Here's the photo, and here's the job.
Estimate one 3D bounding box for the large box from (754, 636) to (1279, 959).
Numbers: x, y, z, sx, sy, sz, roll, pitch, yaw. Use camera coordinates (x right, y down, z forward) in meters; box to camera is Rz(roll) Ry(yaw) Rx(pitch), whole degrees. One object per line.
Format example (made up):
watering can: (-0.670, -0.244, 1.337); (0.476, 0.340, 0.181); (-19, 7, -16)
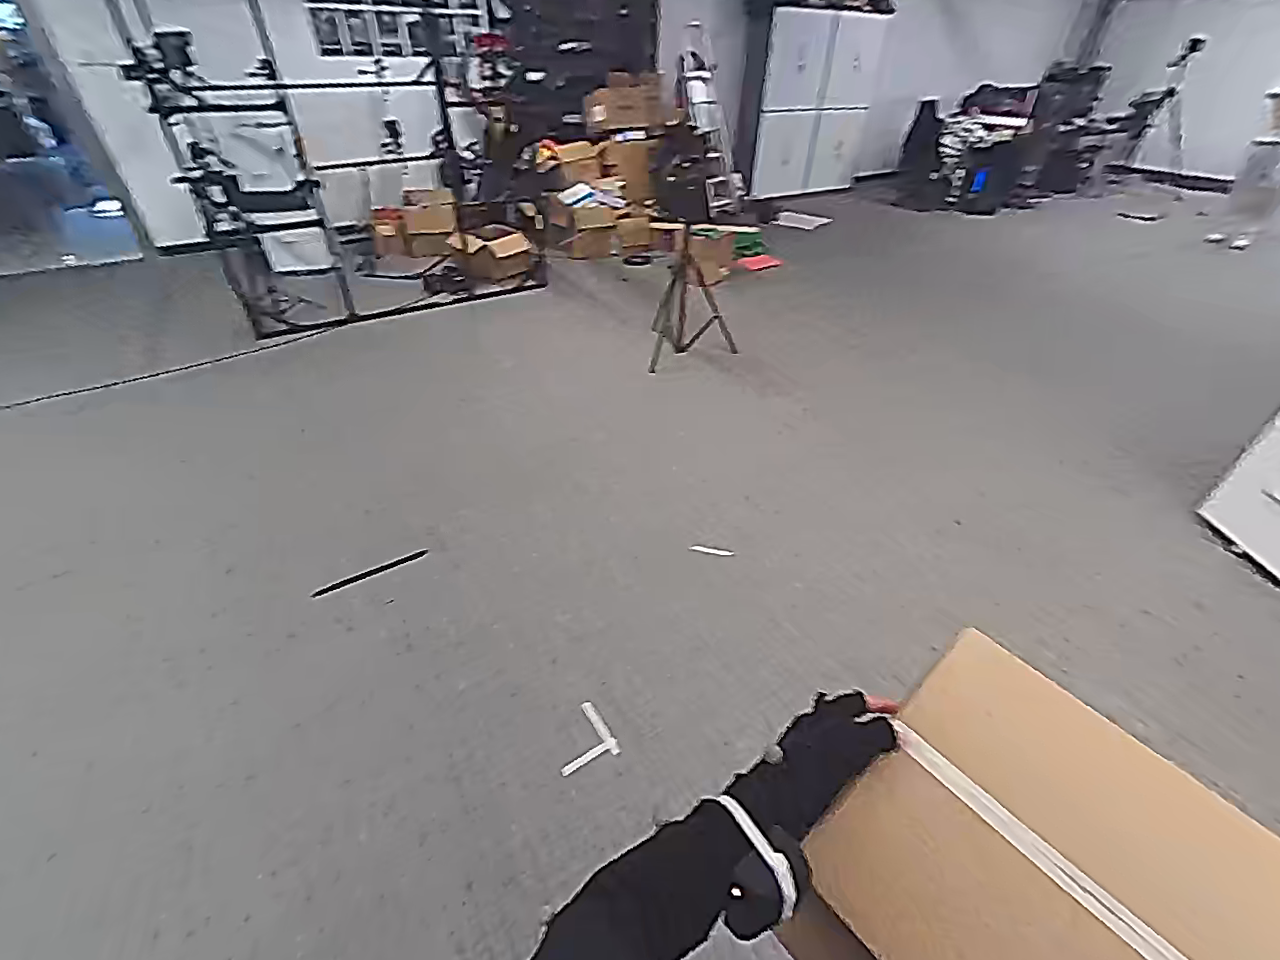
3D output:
large box: (0.378, 0.447, 0.533); (0.320, 0.320, 0.408); (-35, 56, -25)
